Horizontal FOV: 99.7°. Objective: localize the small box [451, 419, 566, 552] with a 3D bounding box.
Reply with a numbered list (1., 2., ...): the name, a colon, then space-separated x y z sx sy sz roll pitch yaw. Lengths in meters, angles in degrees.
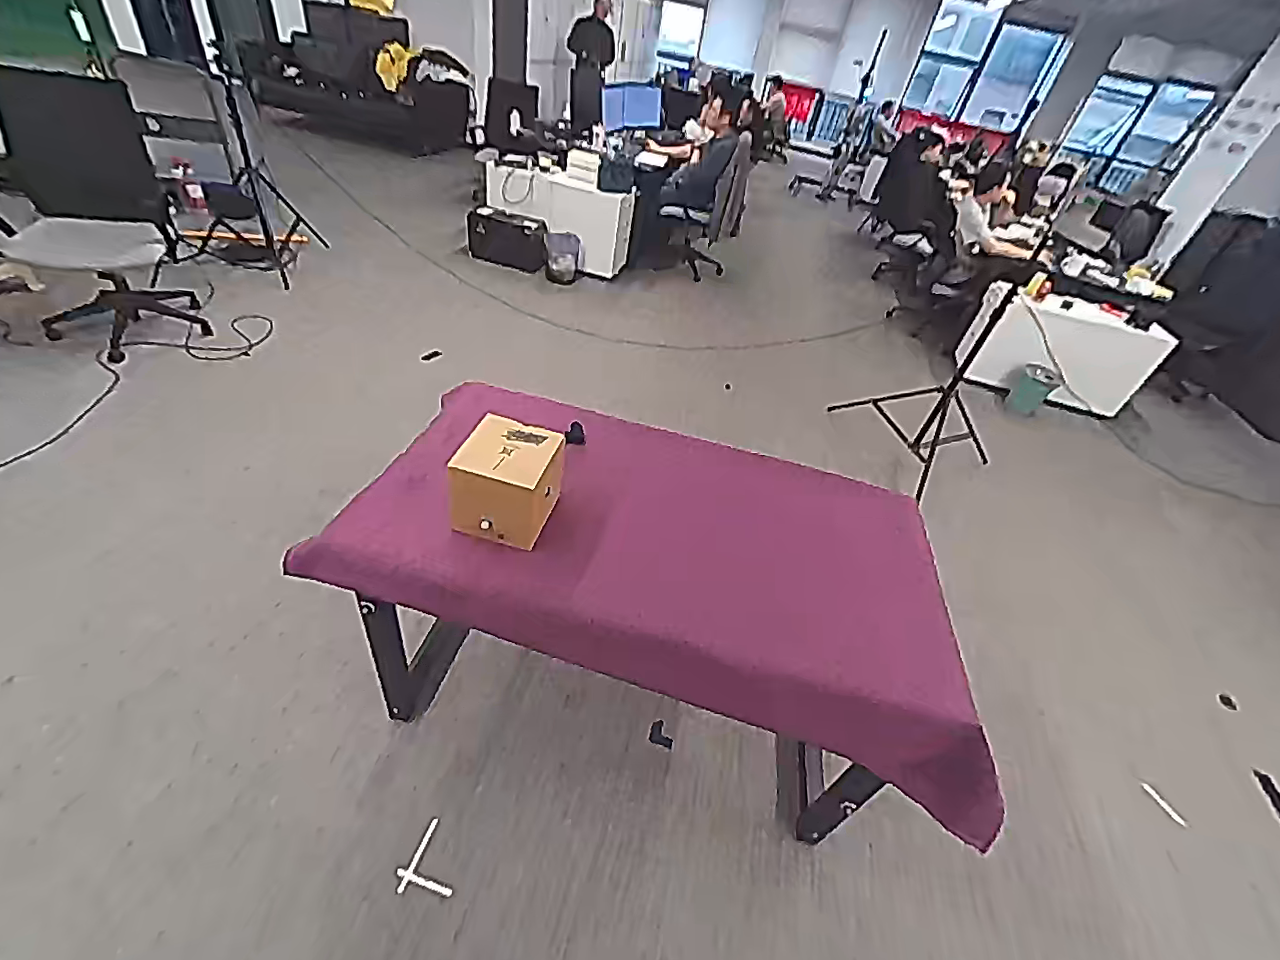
1. small box: -0.257 0.010 1.071 0.168 0.176 0.179 15 40 4
